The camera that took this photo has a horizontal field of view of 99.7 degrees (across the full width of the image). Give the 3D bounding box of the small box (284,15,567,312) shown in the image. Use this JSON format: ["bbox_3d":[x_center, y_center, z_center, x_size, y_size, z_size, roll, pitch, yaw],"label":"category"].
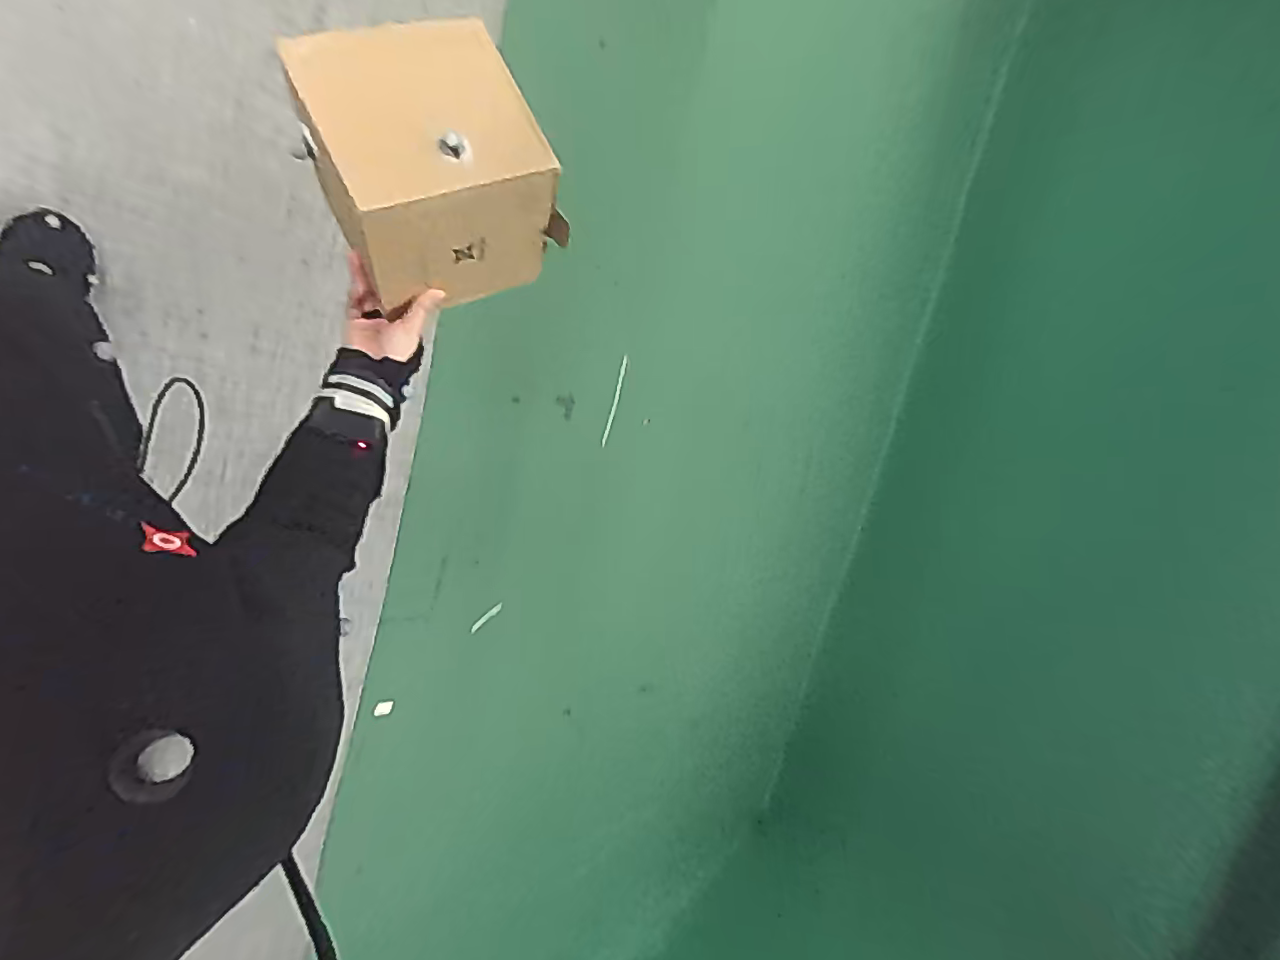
[{"bbox_3d":[-0.196,-0.299,0.520,0.179,0.168,0.176,-26,84,-22],"label":"small box"}]
